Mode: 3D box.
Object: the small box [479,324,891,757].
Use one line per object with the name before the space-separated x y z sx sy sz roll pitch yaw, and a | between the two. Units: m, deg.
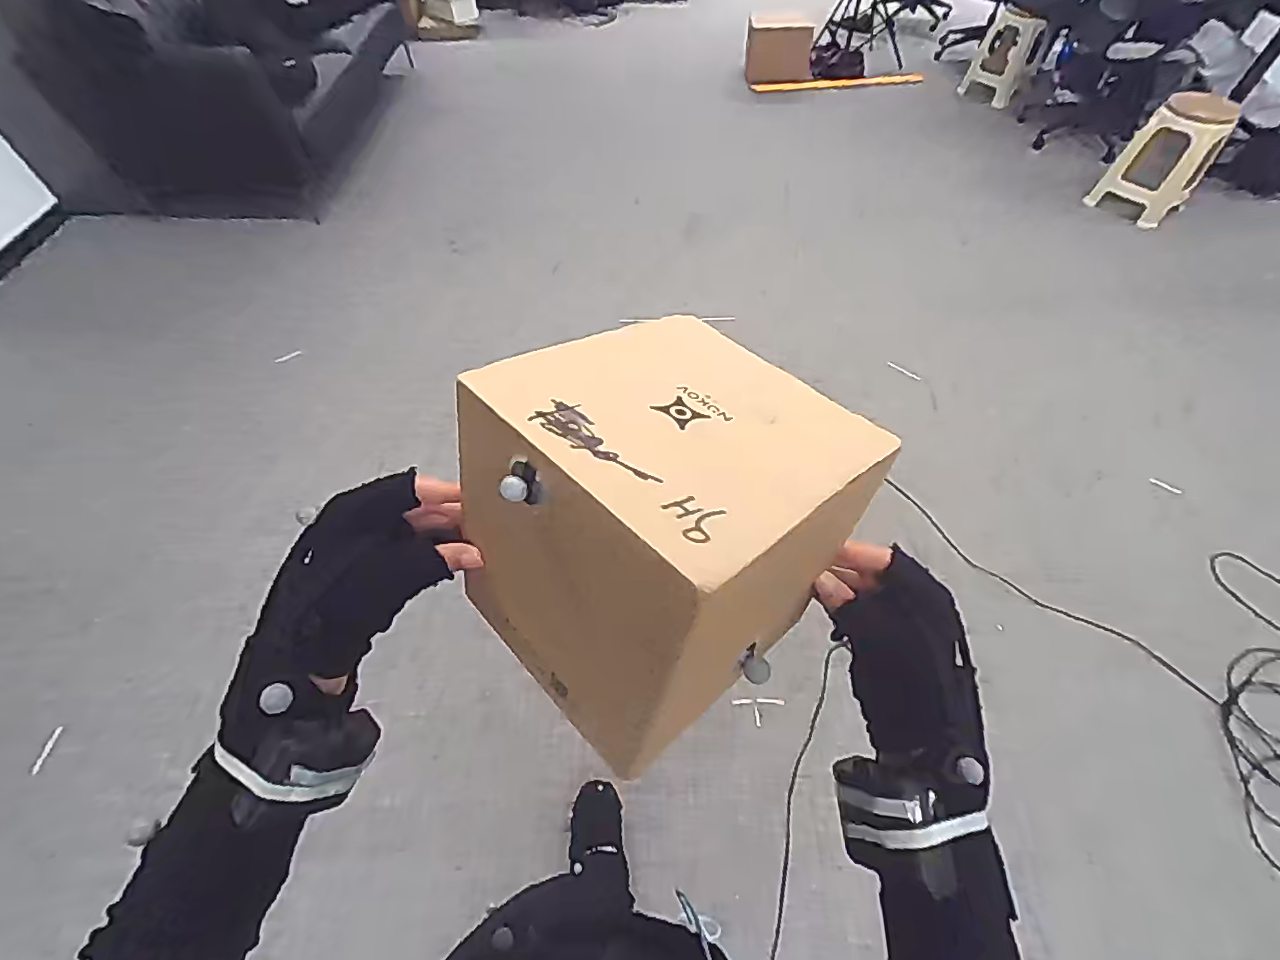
small box | 0.013 0.026 0.340 0.179 0.176 0.168 -26 54 -39
